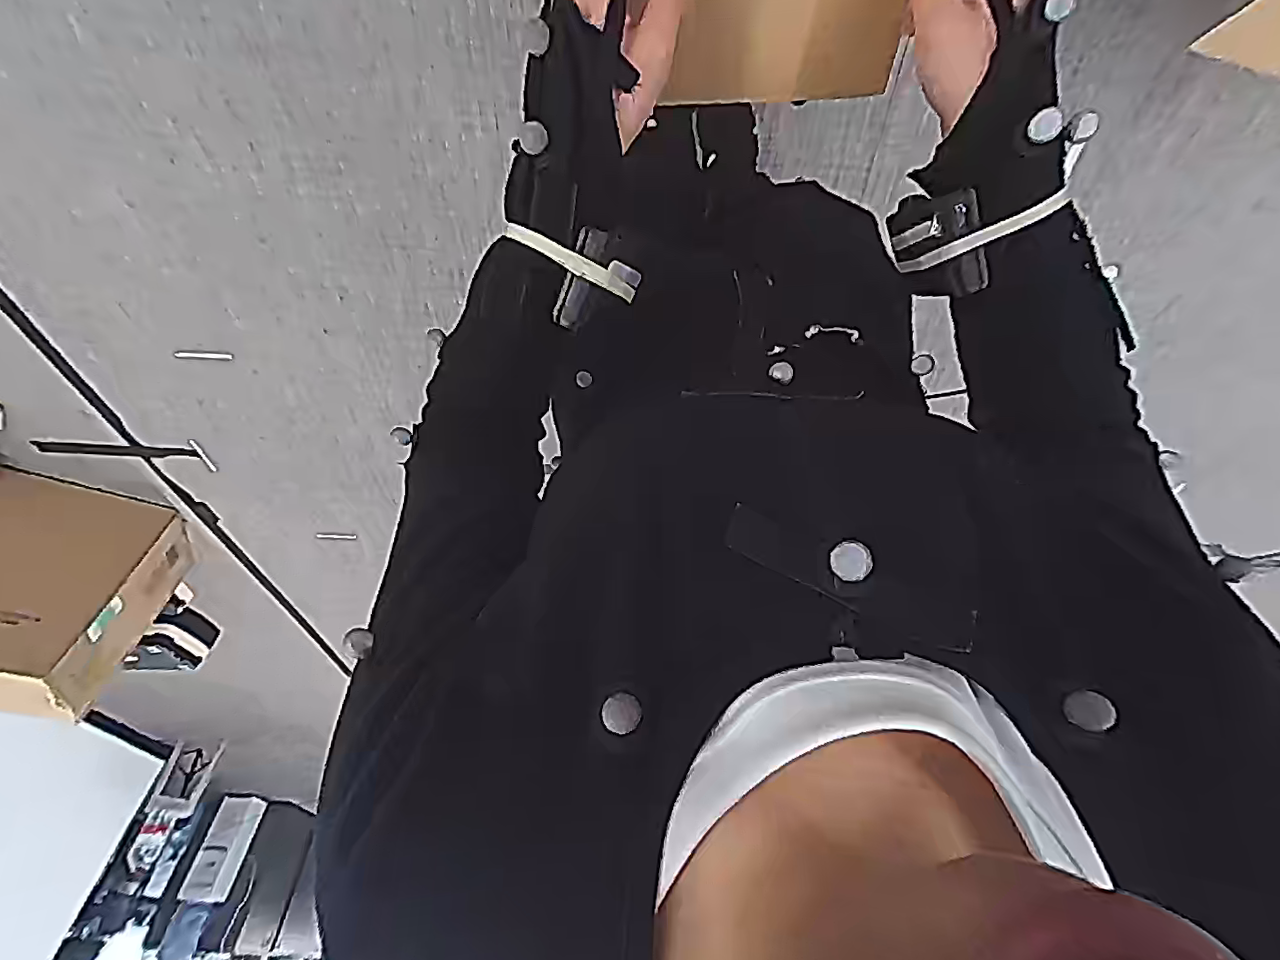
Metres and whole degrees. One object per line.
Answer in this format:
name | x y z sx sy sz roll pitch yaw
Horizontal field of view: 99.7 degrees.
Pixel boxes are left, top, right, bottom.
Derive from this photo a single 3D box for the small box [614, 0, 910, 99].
small box | 0.070 -0.364 0.335 0.179 0.176 0.168 -1 145 0
